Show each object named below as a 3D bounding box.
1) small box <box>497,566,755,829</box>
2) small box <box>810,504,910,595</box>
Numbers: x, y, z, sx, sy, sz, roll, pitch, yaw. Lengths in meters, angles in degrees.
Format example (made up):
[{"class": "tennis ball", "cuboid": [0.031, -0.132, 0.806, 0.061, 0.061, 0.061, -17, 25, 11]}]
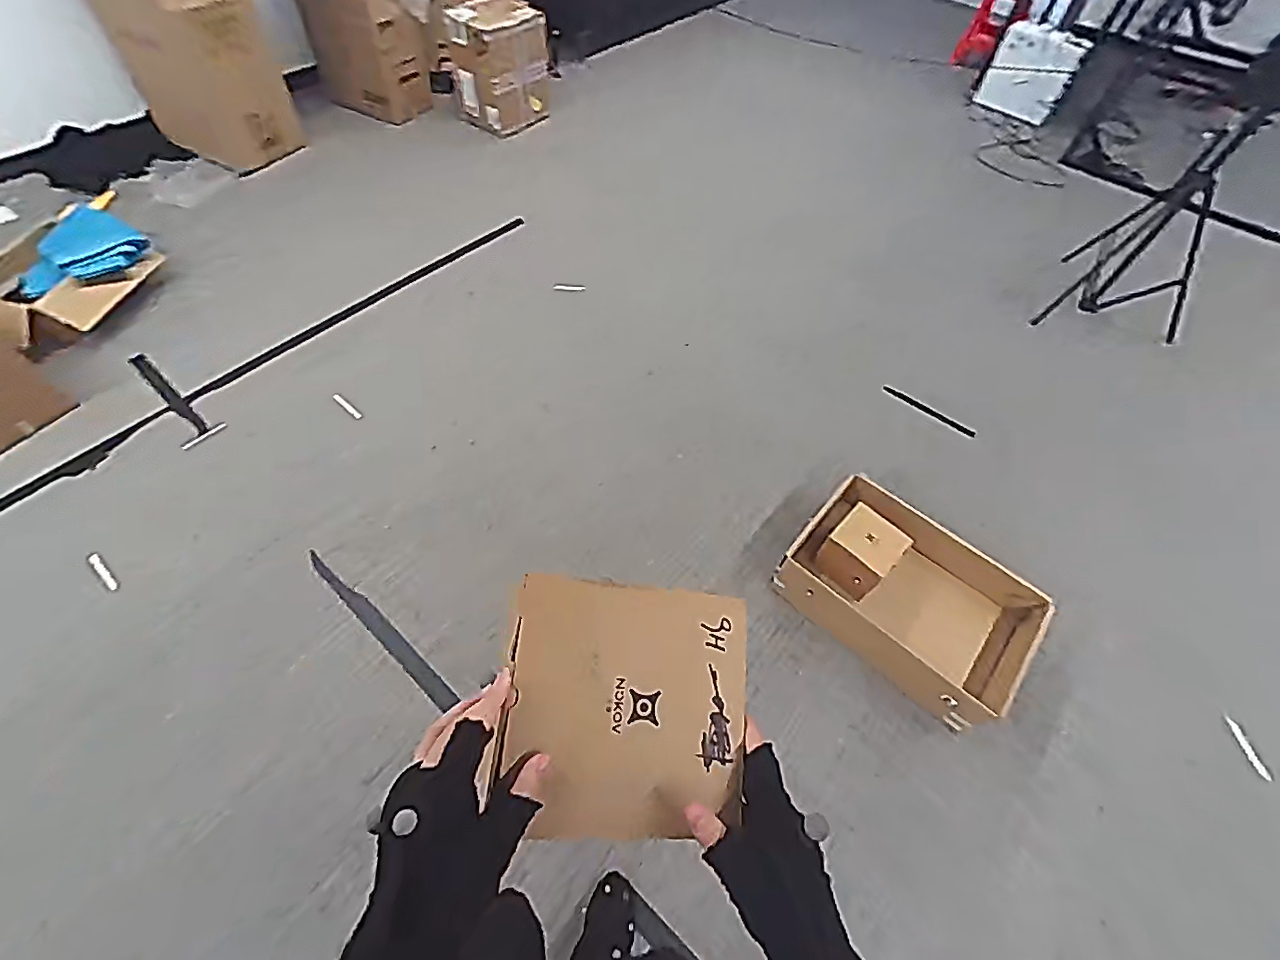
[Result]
[{"class": "small box", "cuboid": [-0.020, 0.174, 0.456, 0.179, 0.176, 0.168, 9, 73, -13]}, {"class": "small box", "cuboid": [0.624, 0.208, 1.550, 0.179, 0.176, 0.168, 40, 62, 21]}]
